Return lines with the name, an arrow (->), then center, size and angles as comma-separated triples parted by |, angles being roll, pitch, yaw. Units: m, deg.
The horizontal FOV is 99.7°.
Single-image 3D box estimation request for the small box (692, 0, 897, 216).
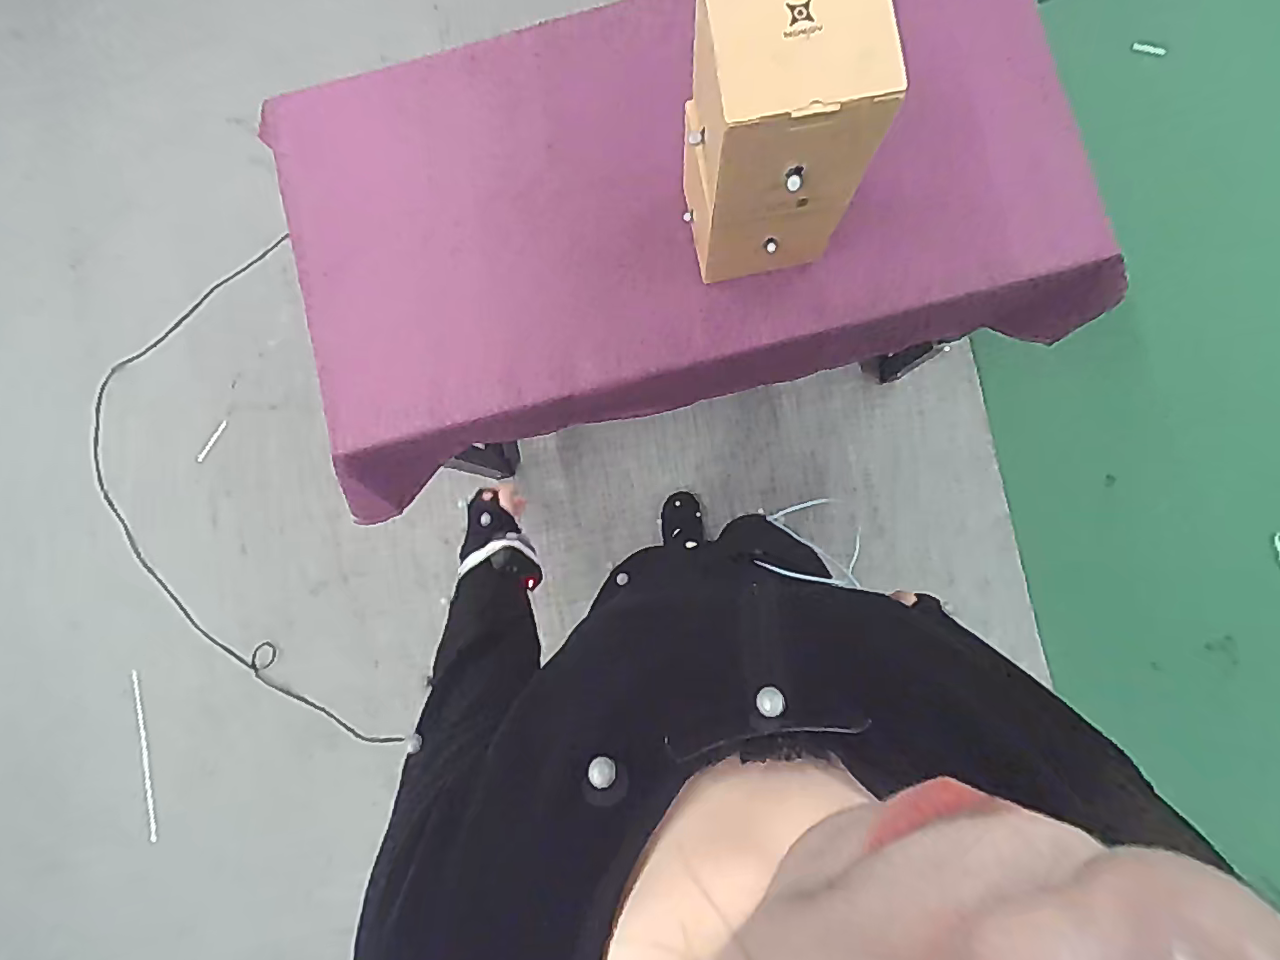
small box -> 0.148, -0.407, 0.577 | 0.168, 0.176, 0.179 | -8, 85, 3
